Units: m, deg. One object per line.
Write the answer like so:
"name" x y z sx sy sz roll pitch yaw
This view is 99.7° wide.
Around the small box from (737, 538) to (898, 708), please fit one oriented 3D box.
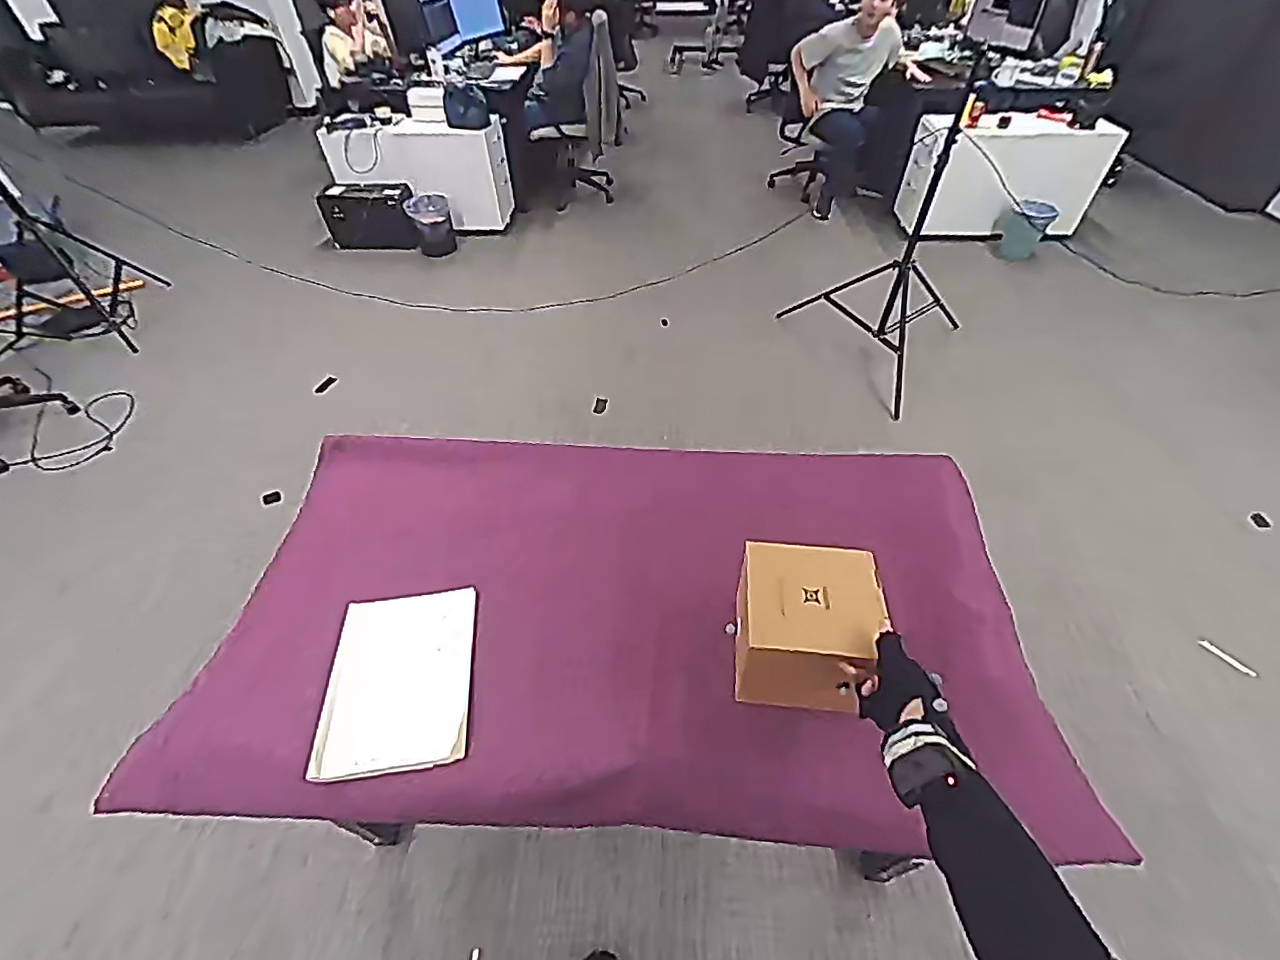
"small box" 0.232 0.202 0.758 0.179 0.176 0.168 3 45 6
